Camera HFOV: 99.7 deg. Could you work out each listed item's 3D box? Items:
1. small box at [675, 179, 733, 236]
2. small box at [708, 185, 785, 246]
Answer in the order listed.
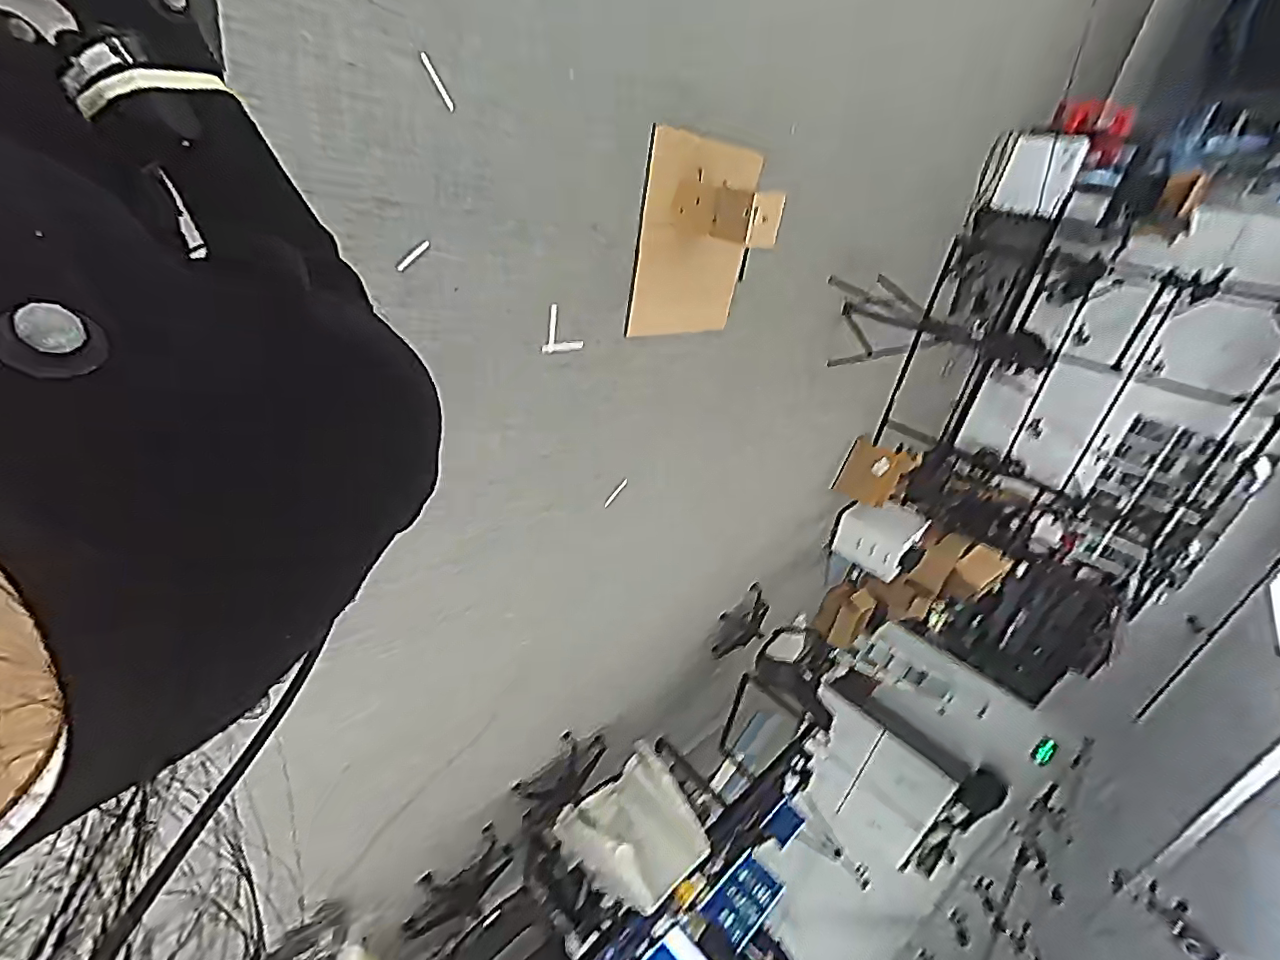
[{"bbox_3d":[0.247,-0.976,1.941,0.179,0.176,0.168,-20,130,-39],"label":"small box"},{"bbox_3d":[0.361,-0.904,1.846,0.179,0.176,0.168,-22,131,-39],"label":"small box"}]
